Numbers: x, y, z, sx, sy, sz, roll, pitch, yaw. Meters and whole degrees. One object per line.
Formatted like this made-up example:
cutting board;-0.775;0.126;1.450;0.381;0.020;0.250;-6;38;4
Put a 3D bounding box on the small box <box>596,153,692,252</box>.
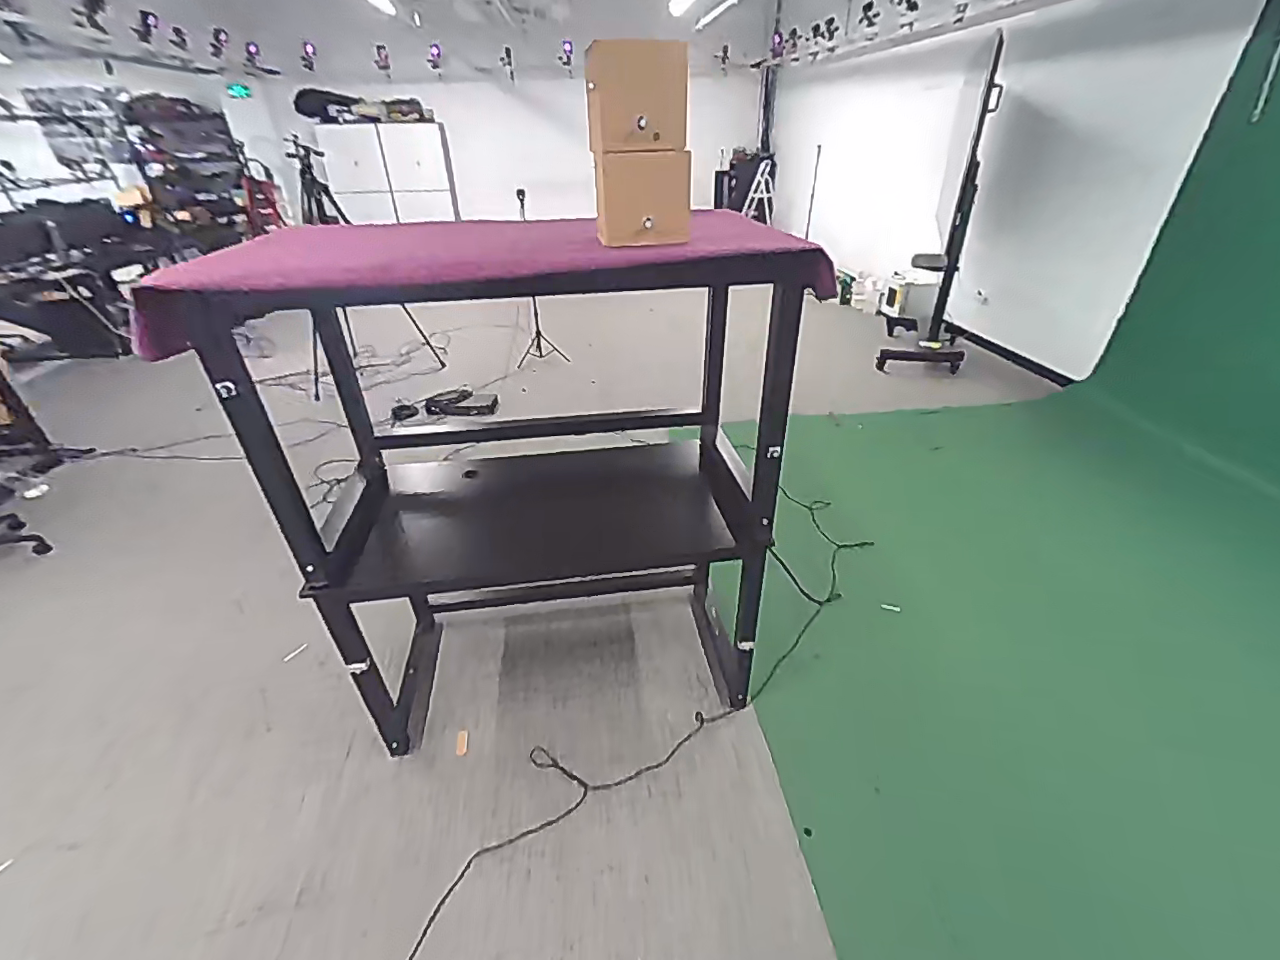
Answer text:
small box;0.004;-0.578;1.122;0.179;0.176;0.168;-6;31;-6
